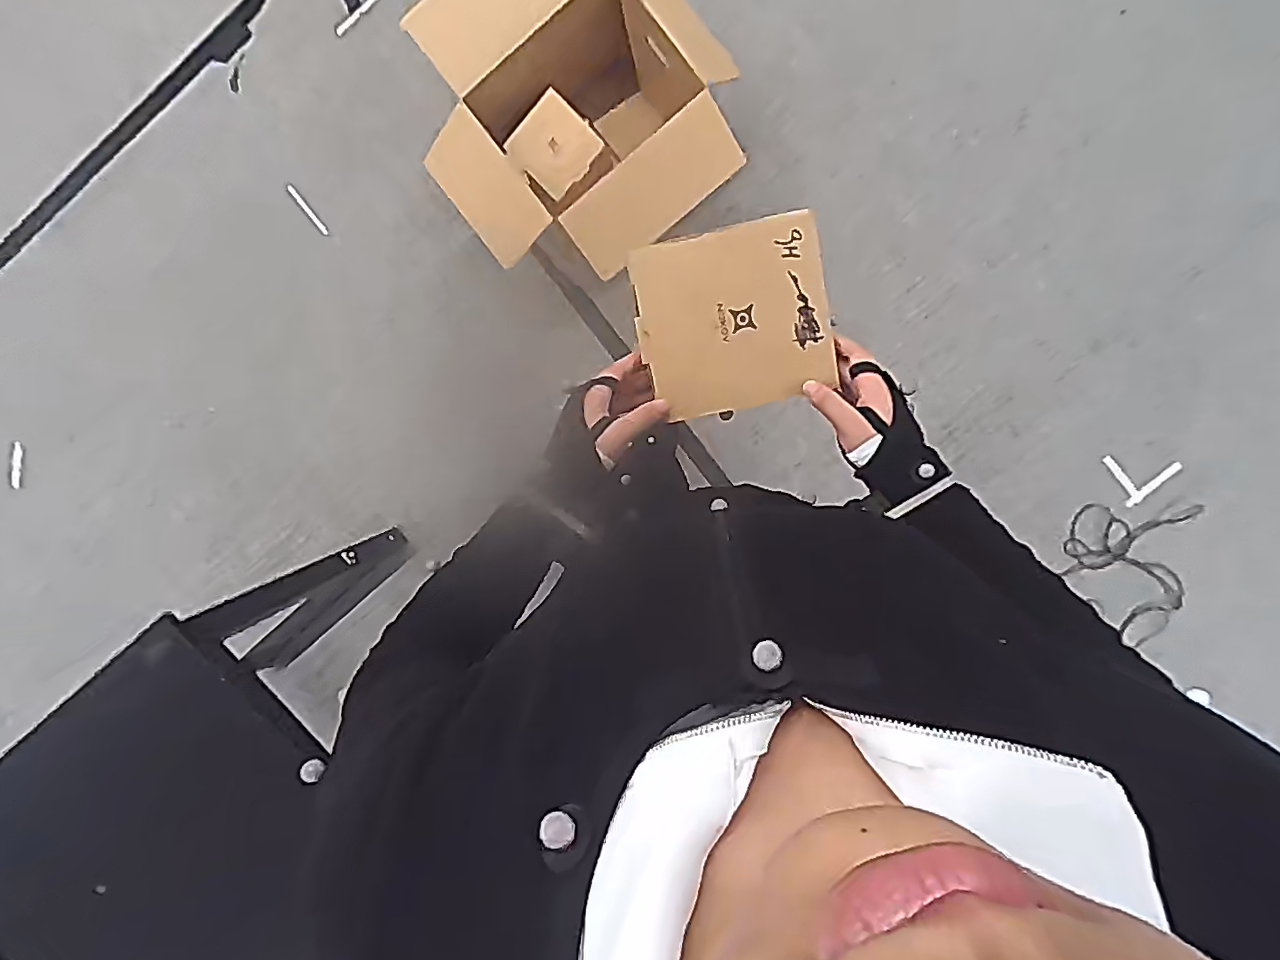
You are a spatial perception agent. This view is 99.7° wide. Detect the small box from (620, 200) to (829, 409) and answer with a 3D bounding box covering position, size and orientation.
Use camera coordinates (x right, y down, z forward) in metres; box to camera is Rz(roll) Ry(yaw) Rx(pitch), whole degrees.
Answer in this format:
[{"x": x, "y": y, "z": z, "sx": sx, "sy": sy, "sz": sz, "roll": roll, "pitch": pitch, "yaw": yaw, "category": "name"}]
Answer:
[{"x": 0.087, "y": -0.173, "z": 0.588, "sx": 0.179, "sy": 0.176, "sz": 0.168, "roll": -11, "pitch": 98, "yaw": 6, "category": "small box"}]
